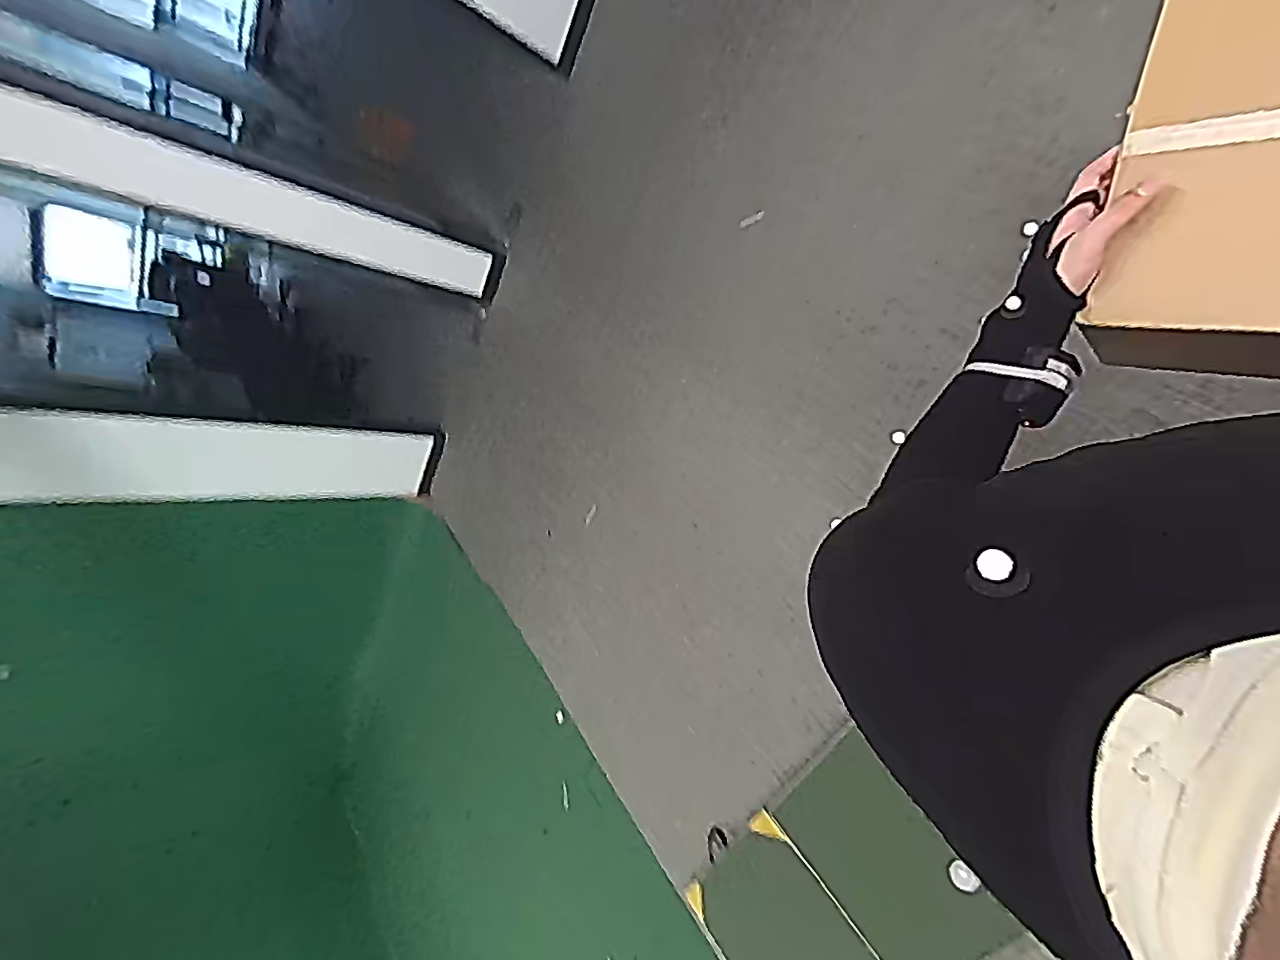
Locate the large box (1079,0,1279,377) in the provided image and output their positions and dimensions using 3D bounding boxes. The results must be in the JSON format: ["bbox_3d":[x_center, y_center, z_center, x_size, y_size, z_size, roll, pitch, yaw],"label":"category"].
[{"bbox_3d":[0.681,-0.260,0.475,0.408,0.320,0.320,17,103,41],"label":"large box"}]
